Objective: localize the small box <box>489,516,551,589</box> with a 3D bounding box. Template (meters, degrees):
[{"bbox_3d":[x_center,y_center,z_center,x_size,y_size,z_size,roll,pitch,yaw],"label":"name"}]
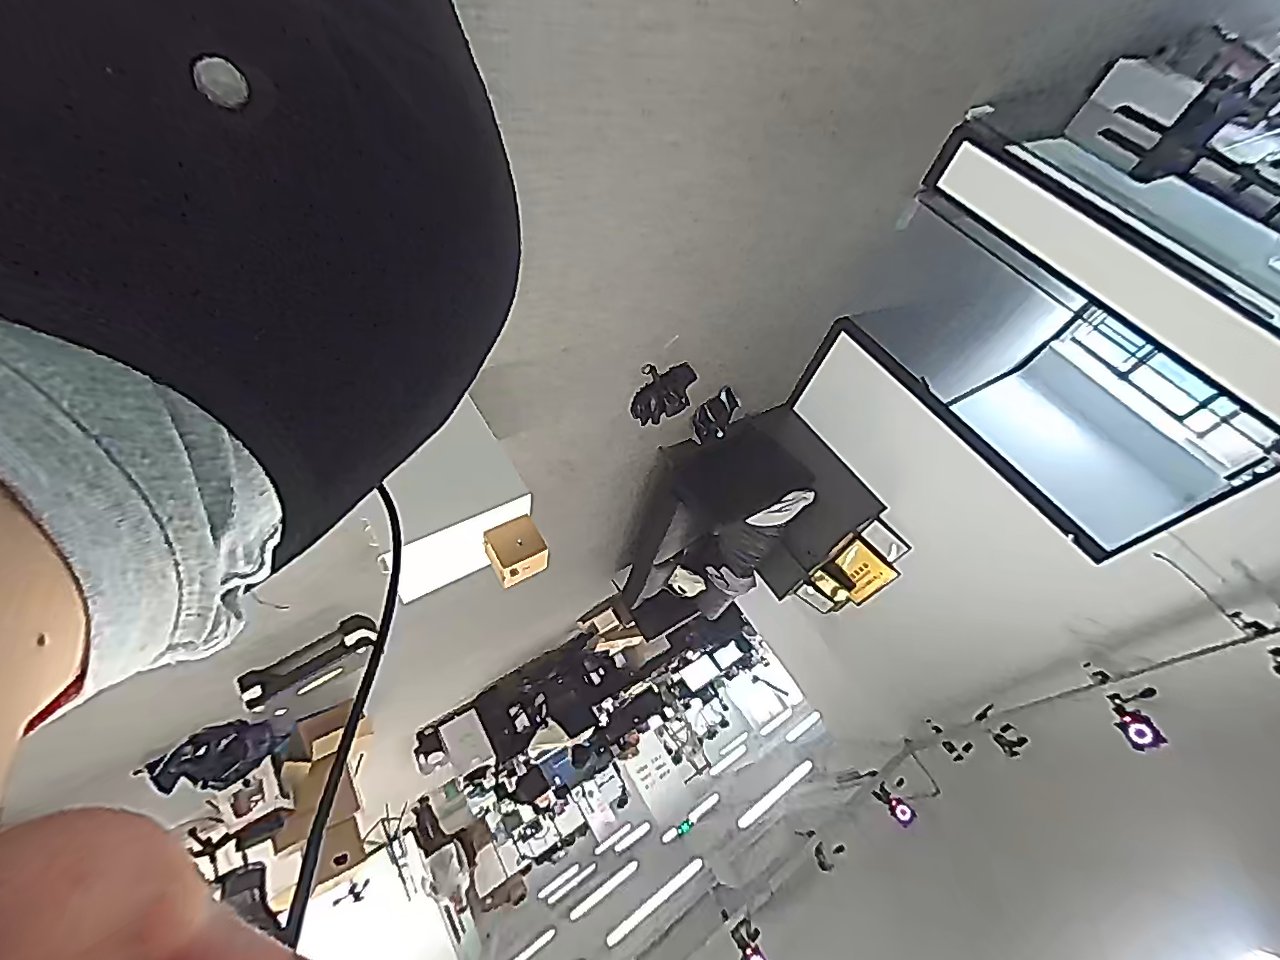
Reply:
[{"bbox_3d":[-0.446,0.264,1.987,0.179,0.176,0.168,-25,155,-26],"label":"small box"}]
